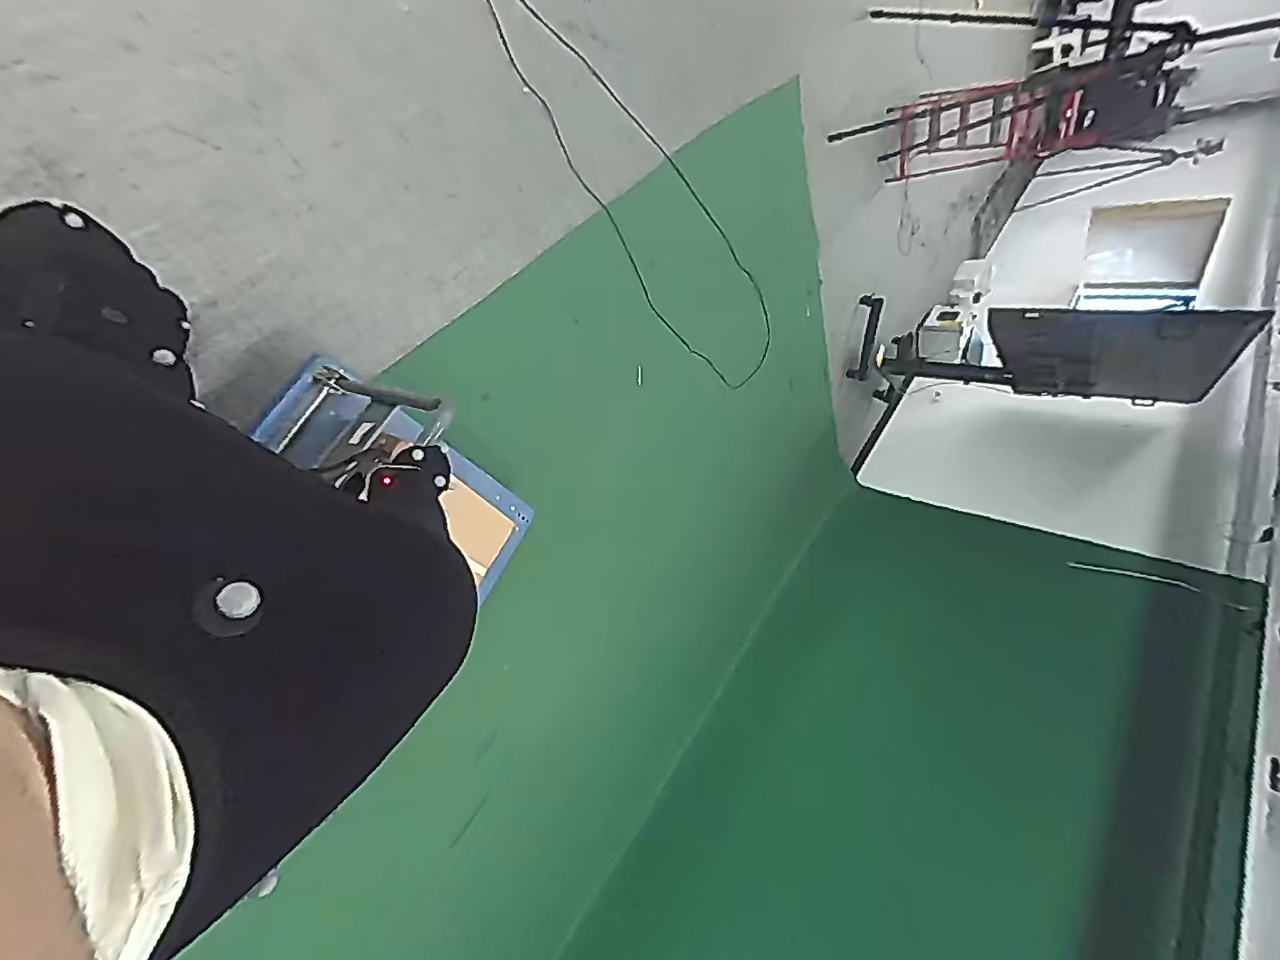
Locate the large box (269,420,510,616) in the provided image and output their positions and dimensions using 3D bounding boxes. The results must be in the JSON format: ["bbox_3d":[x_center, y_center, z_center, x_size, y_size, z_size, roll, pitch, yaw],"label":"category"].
[{"bbox_3d":[-0.630,0.098,1.401,0.320,0.320,0.408,-59,141,-17],"label":"large box"}]
